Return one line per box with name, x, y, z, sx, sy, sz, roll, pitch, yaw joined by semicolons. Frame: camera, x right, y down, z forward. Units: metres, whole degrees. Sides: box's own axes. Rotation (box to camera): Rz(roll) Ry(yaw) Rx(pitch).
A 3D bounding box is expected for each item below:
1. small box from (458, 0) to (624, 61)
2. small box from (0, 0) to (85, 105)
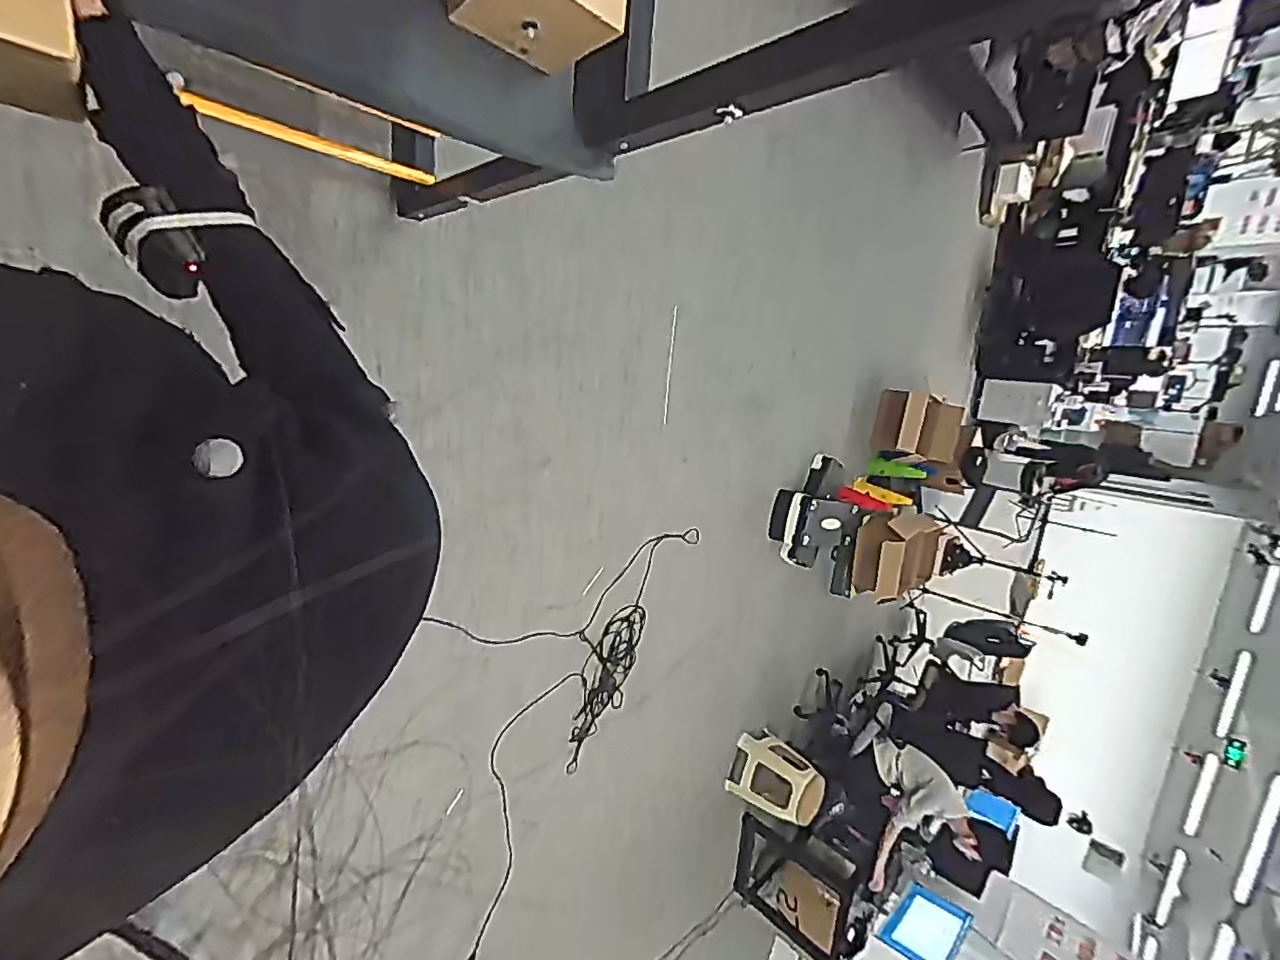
small box;-0.131;-0.685;0.689;0.168;0.176;0.179;-6;105;-45
small box;-0.446;-0.353;0.309;0.168;0.176;0.179;-7;108;-43
